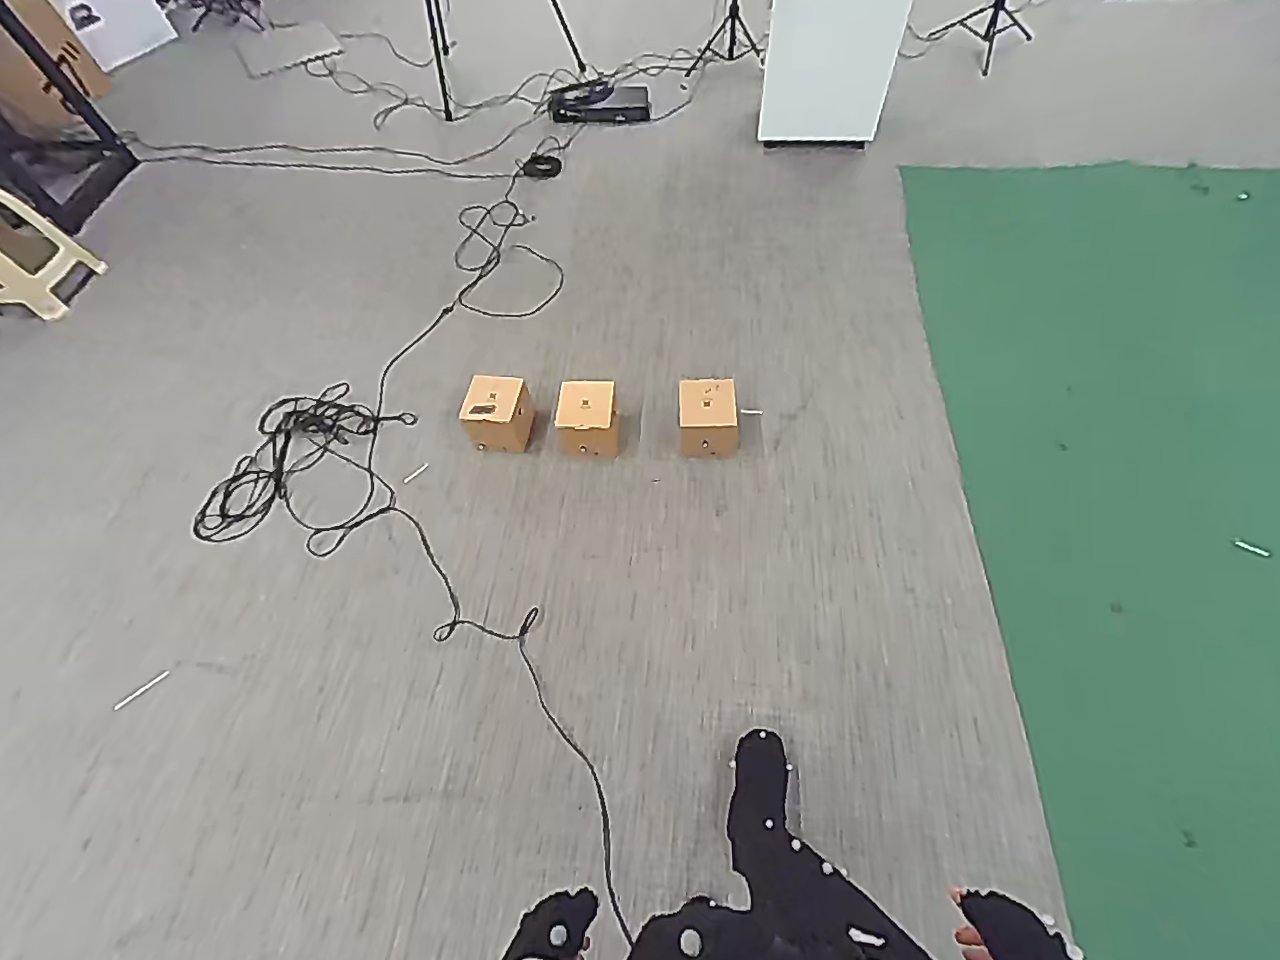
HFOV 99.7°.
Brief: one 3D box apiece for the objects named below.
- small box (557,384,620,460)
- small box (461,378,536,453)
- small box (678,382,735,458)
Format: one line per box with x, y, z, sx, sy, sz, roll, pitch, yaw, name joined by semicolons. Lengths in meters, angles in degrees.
-0.156;-0.181;1.696;0.168;0.176;0.179;1;60;5;small box
-0.444;-0.203;1.729;0.168;0.176;0.179;5;59;7;small box
0.202;-0.180;1.667;0.168;0.176;0.179;0;60;3;small box
